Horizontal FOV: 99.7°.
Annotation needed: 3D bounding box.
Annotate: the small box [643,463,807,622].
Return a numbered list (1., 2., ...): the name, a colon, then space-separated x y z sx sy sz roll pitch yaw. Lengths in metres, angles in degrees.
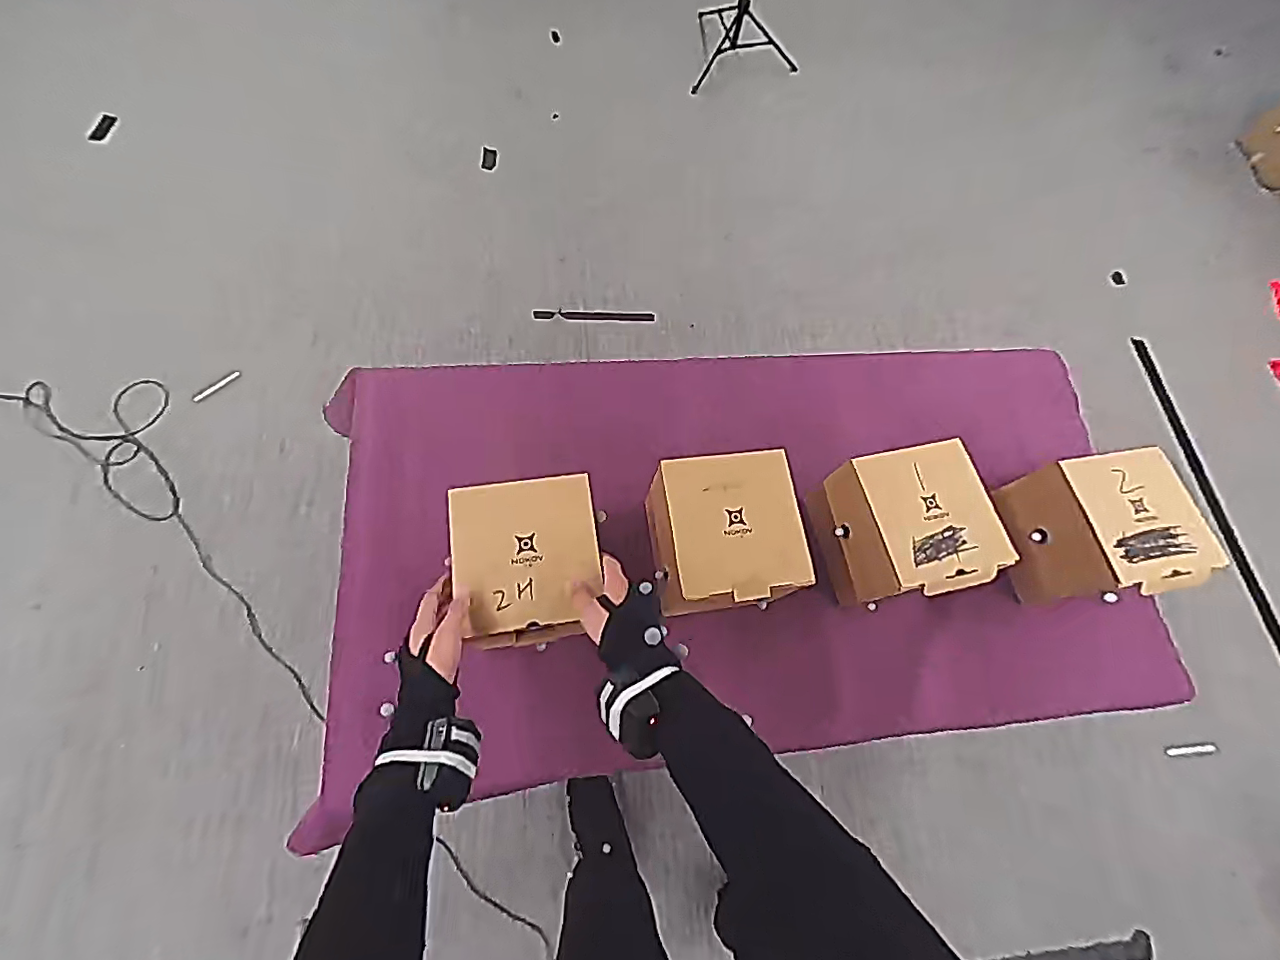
1. small box: 0.101 0.093 0.731 0.168 0.176 0.179 -5 69 -9

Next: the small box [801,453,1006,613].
1. small box: 0.353 0.084 0.762 0.168 0.176 0.179 -10 69 -10

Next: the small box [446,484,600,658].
1. small box: -0.144 0.122 0.688 0.168 0.176 0.179 -6 70 -8
